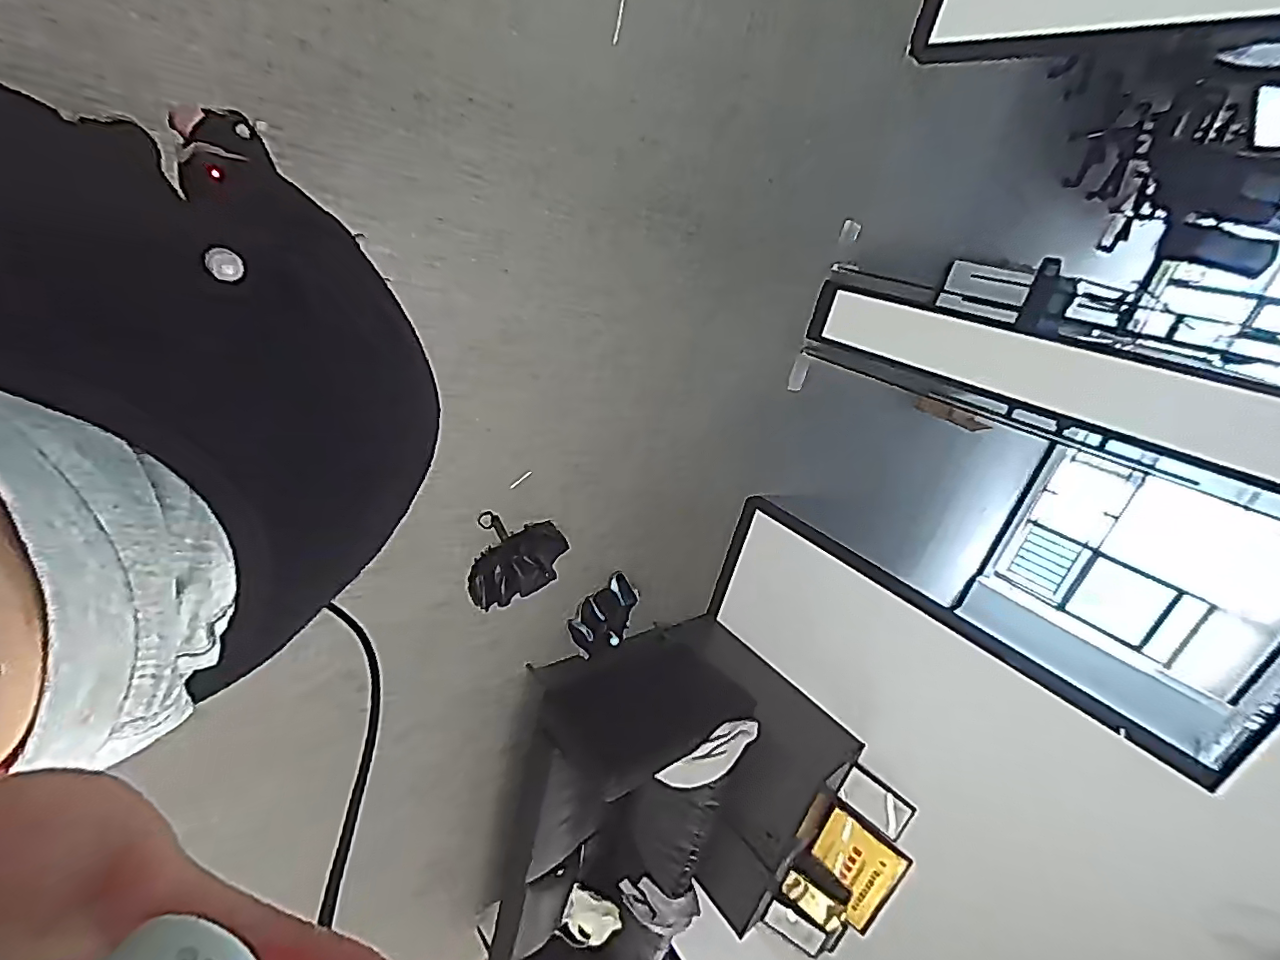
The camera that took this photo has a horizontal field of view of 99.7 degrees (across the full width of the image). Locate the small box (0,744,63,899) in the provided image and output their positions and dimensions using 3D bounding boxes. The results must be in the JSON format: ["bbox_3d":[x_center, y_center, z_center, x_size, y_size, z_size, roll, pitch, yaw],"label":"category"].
[{"bbox_3d":[-0.972,0.525,0.777,0.168,0.176,0.179,-11,124,-39],"label":"small box"}]
